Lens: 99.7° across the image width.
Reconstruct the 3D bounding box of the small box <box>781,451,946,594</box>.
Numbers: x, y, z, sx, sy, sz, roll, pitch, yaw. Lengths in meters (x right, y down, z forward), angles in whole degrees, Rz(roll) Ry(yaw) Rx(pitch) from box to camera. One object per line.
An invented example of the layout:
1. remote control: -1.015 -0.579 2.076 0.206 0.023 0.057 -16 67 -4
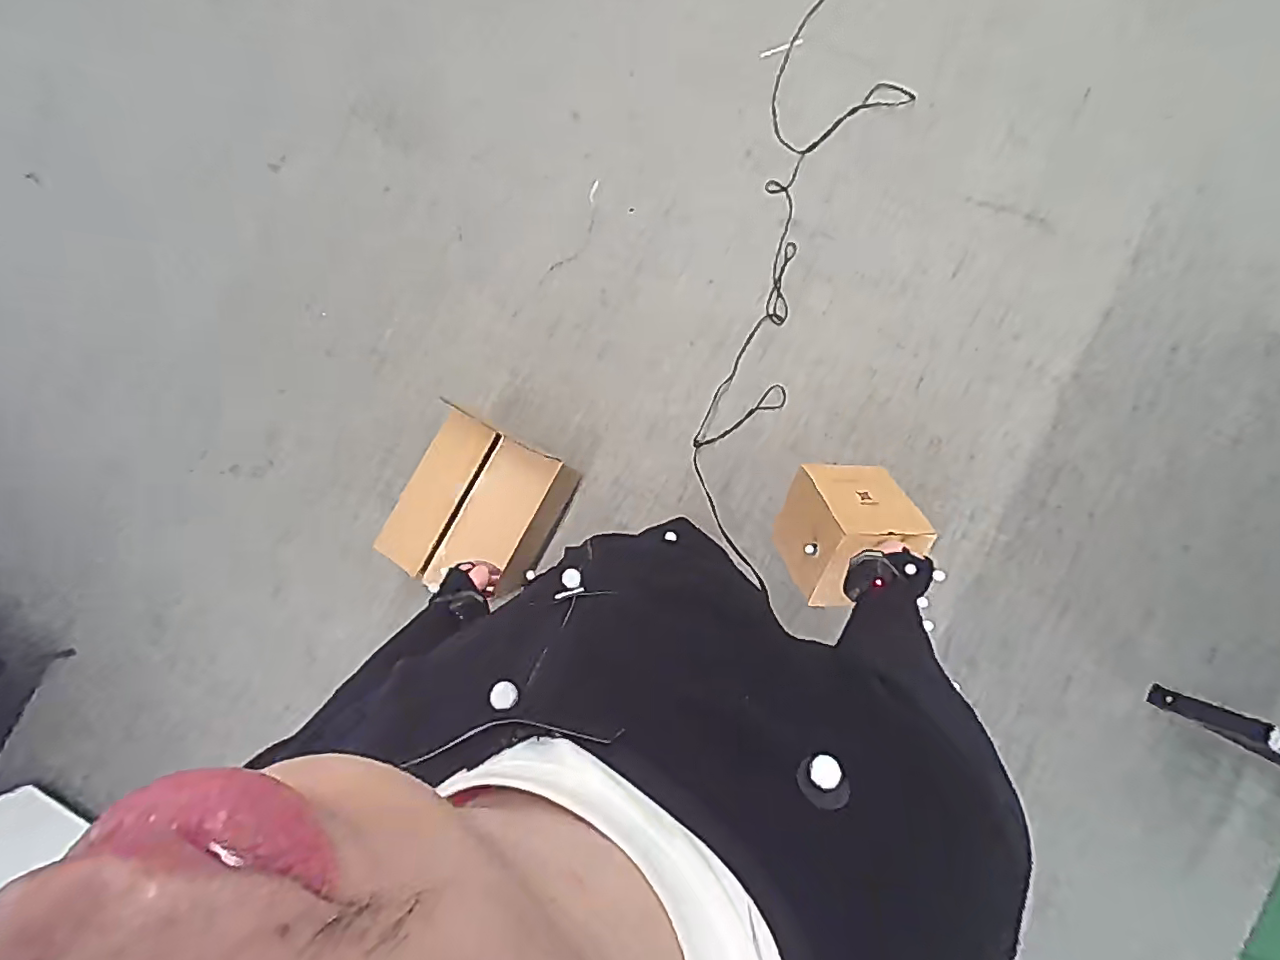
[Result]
1. small box: 0.363 0.074 0.914 0.168 0.179 0.176 5 128 -12
